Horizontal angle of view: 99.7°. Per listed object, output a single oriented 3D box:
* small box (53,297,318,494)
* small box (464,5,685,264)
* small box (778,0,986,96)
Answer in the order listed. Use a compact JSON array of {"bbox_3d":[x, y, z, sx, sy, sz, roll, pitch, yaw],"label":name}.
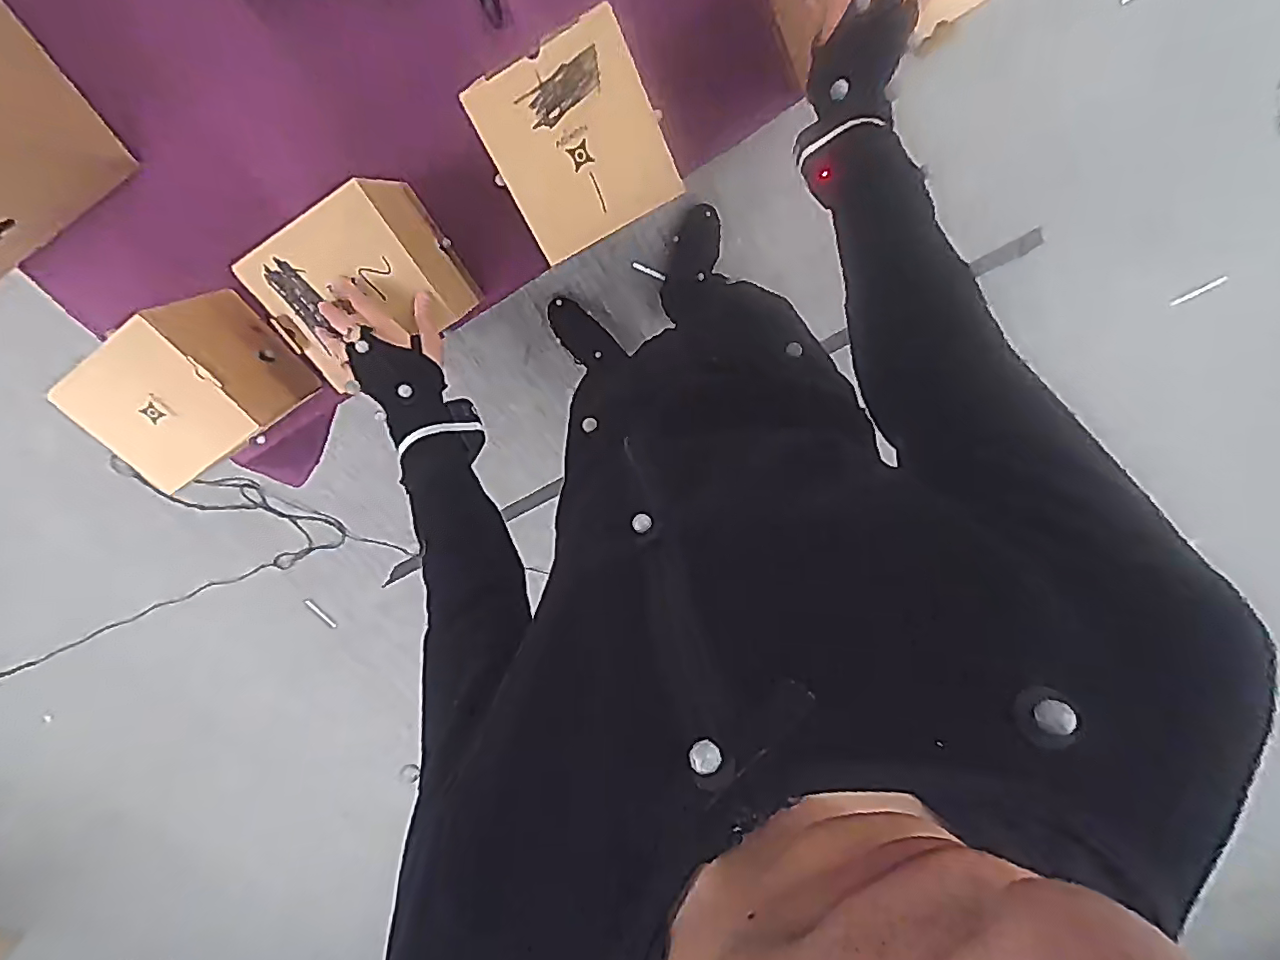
[{"bbox_3d":[-0.578,-0.118,0.719,0.179,0.176,0.168,-32,115,12],"label":"small box"},{"bbox_3d":[-0.067,-0.371,0.612,0.168,0.176,0.179,-25,117,10],"label":"small box"},{"bbox_3d":[0.241,-0.530,0.543,0.168,0.176,0.179,-27,116,12],"label":"small box"}]
